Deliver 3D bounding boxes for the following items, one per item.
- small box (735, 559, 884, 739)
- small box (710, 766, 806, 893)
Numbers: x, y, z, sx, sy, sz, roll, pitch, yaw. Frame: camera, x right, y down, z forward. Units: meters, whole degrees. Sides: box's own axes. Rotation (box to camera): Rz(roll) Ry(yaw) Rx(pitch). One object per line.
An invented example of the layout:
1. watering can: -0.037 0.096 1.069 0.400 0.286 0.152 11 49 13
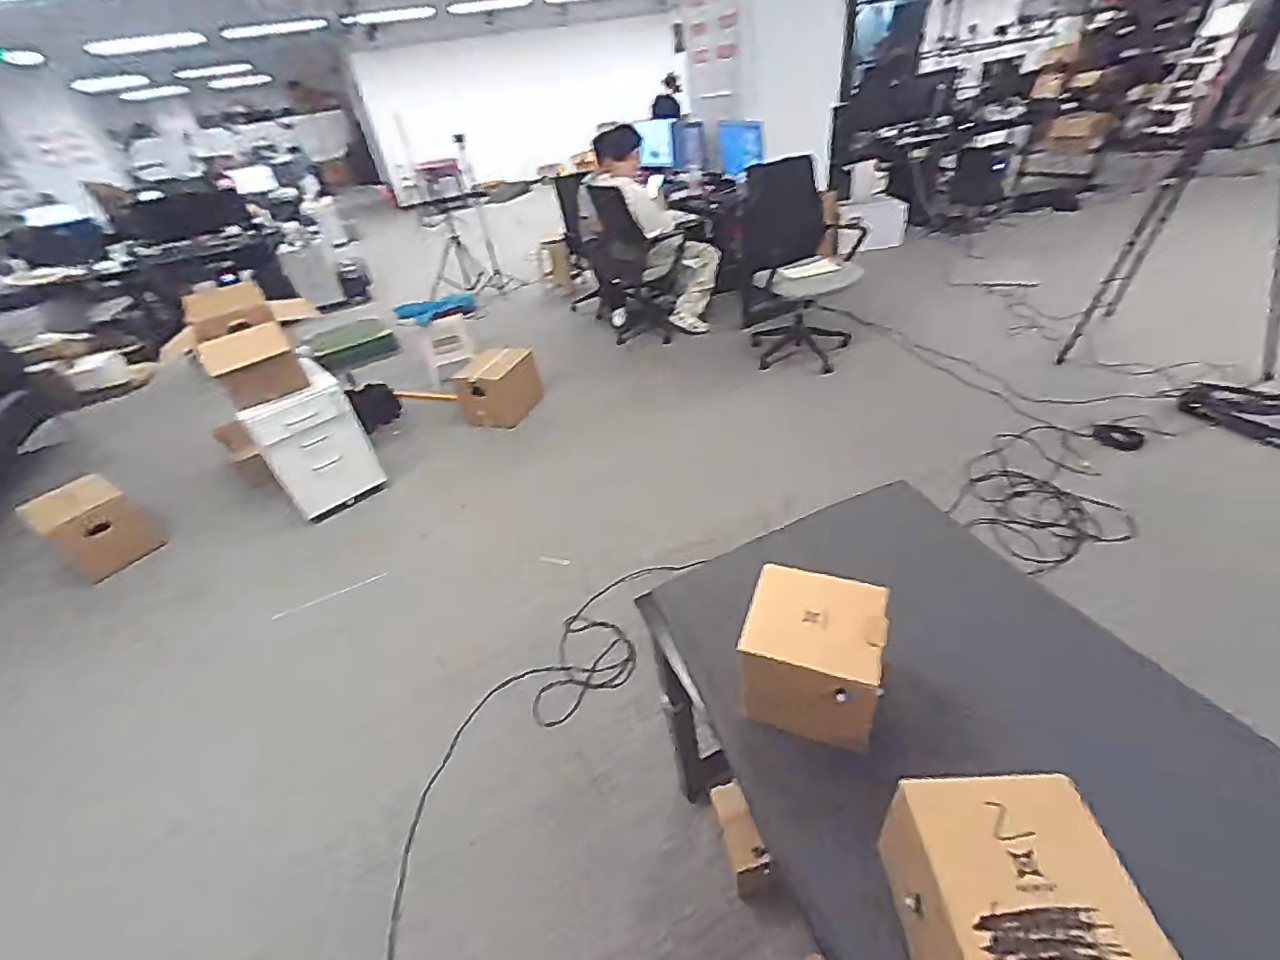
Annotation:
1. small box: 0.245 0.243 0.787 0.179 0.176 0.168 9 40 23
2. small box: 0.267 0.808 1.252 0.168 0.176 0.179 -13 36 -6
